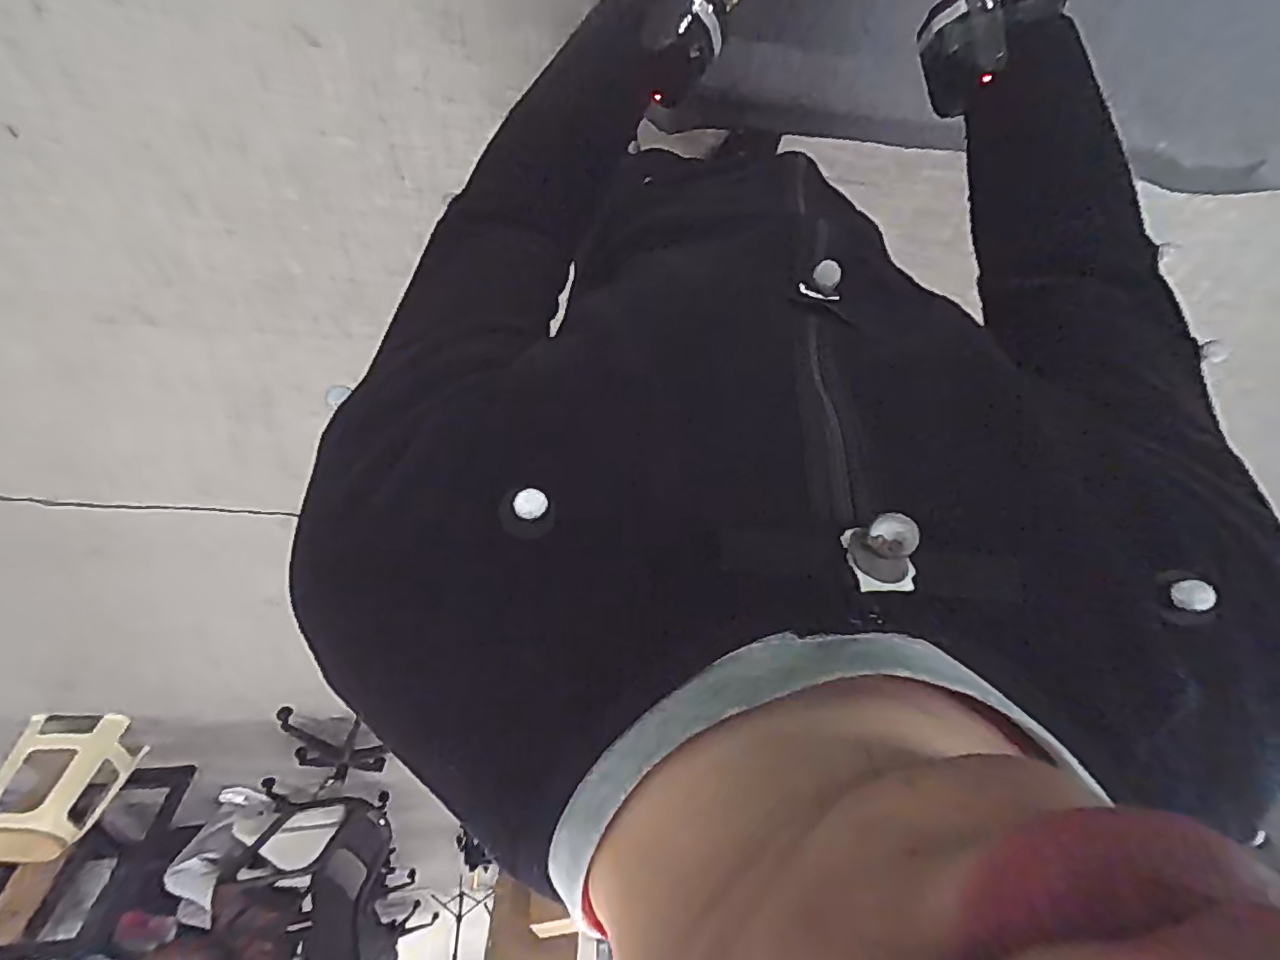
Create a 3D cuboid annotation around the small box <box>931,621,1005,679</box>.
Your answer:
[{"bbox_3d":[1.342,0.699,2.231,0.168,0.176,0.179,2,129,-7],"label":"small box"}]
